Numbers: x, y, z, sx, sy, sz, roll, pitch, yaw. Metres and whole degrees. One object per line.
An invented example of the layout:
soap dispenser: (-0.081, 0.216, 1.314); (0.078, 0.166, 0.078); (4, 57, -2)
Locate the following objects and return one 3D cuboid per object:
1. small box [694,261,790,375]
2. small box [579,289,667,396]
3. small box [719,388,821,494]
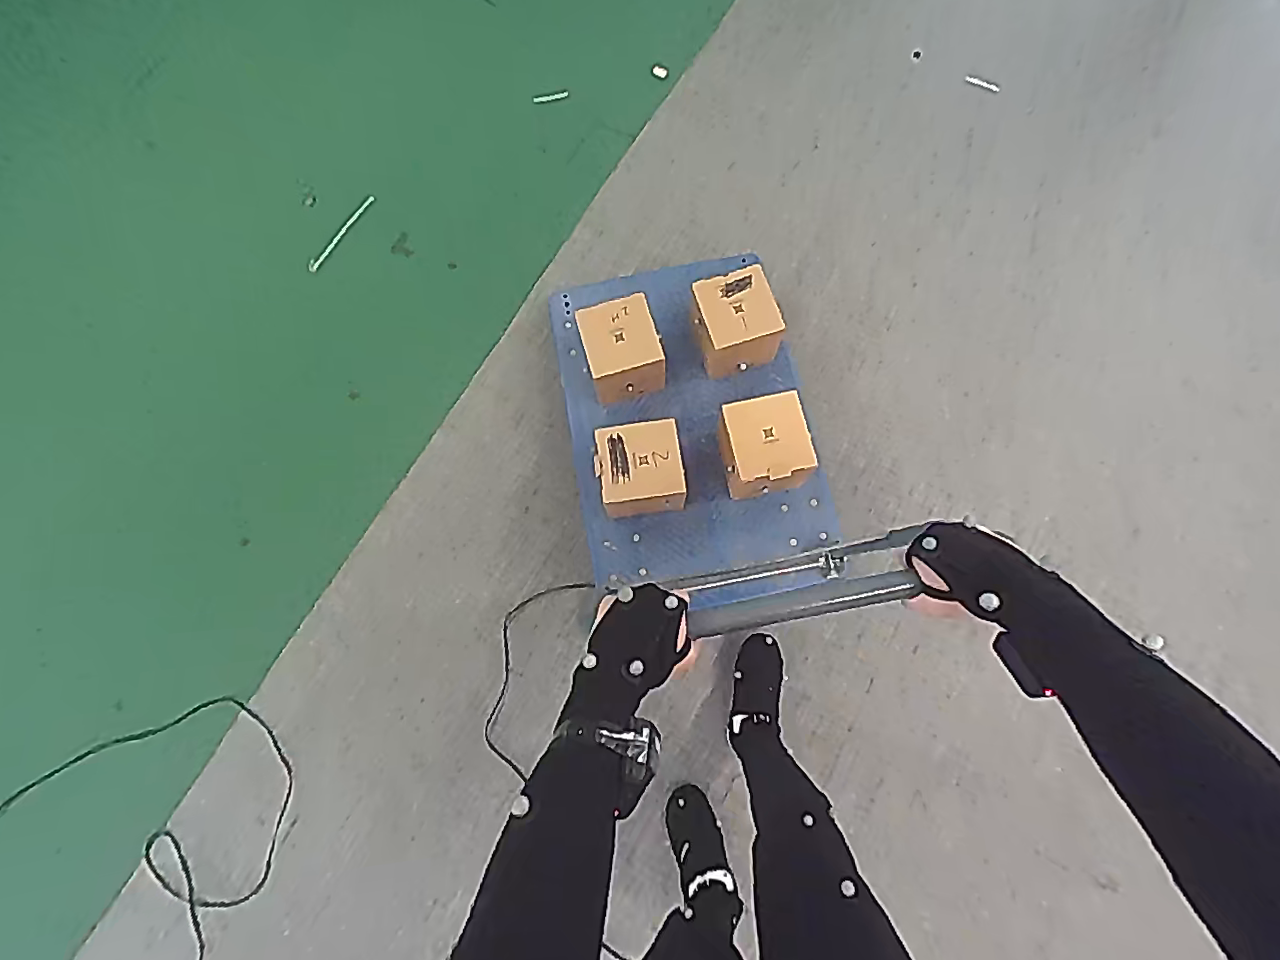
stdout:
small box: (0.231, -0.377, 1.278); (0.168, 0.176, 0.179); (-16, 77, -1)
small box: (-0.035, -0.313, 1.274); (0.168, 0.176, 0.179); (-15, 76, -2)
small box: (0.280, -0.082, 1.206); (0.168, 0.176, 0.179); (-11, 77, 0)
